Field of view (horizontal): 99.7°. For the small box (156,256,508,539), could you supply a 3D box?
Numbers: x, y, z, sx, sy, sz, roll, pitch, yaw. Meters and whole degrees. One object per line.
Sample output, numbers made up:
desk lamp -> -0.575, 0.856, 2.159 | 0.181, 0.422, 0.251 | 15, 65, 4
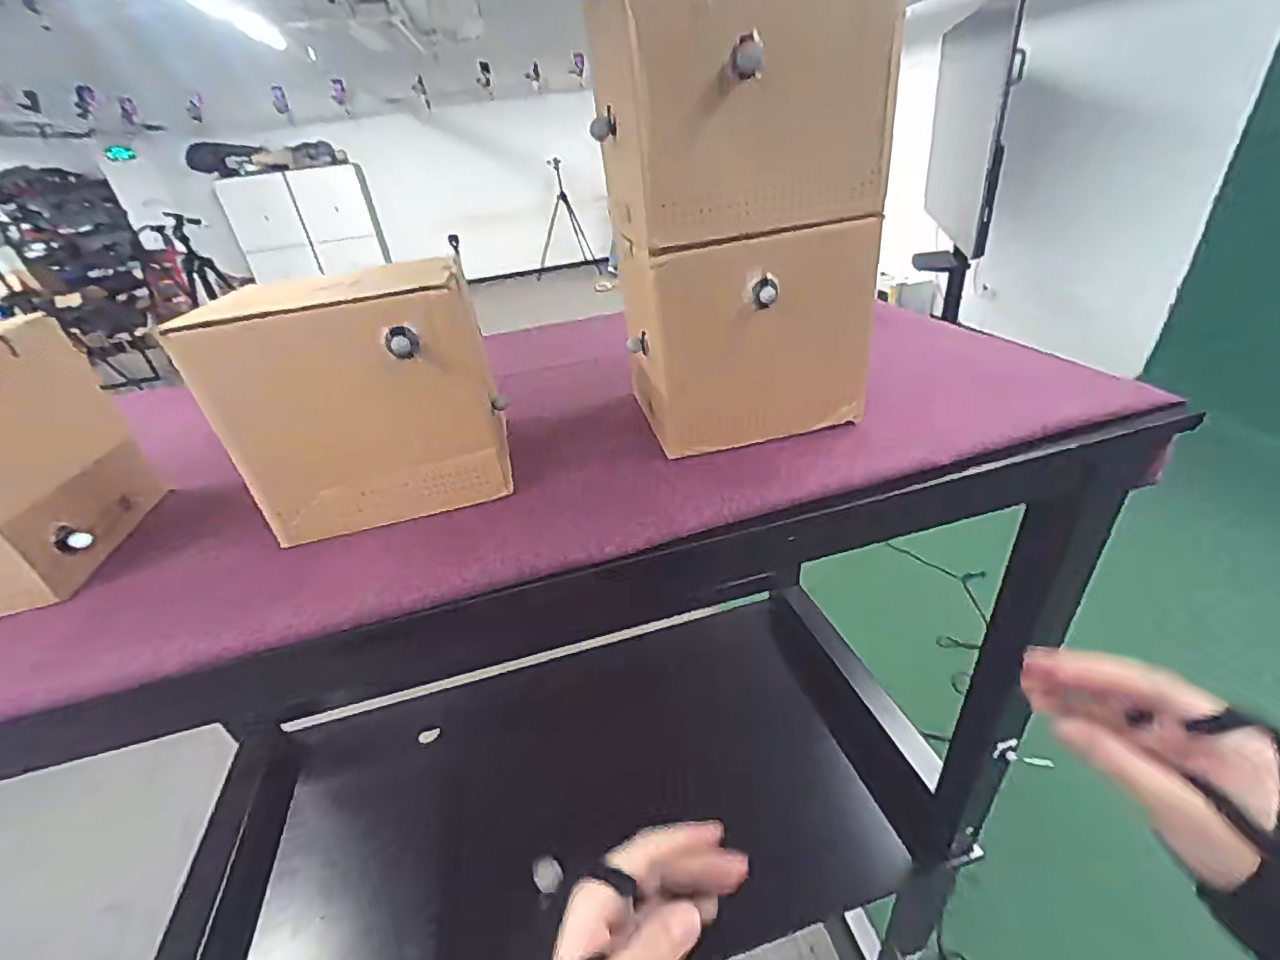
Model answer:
small box -> -0.217, -0.073, 0.442 | 0.179, 0.176, 0.168 | -13, 31, -10

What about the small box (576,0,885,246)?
small box -> 0.061, -0.278, 0.397 | 0.179, 0.176, 0.168 | -13, 33, -5

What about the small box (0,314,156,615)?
small box -> -0.512, -0.001, 0.384 | 0.179, 0.176, 0.168 | -15, 32, -10

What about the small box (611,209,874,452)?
small box -> 0.081, -0.140, 0.482 | 0.179, 0.176, 0.168 | -11, 32, -5
